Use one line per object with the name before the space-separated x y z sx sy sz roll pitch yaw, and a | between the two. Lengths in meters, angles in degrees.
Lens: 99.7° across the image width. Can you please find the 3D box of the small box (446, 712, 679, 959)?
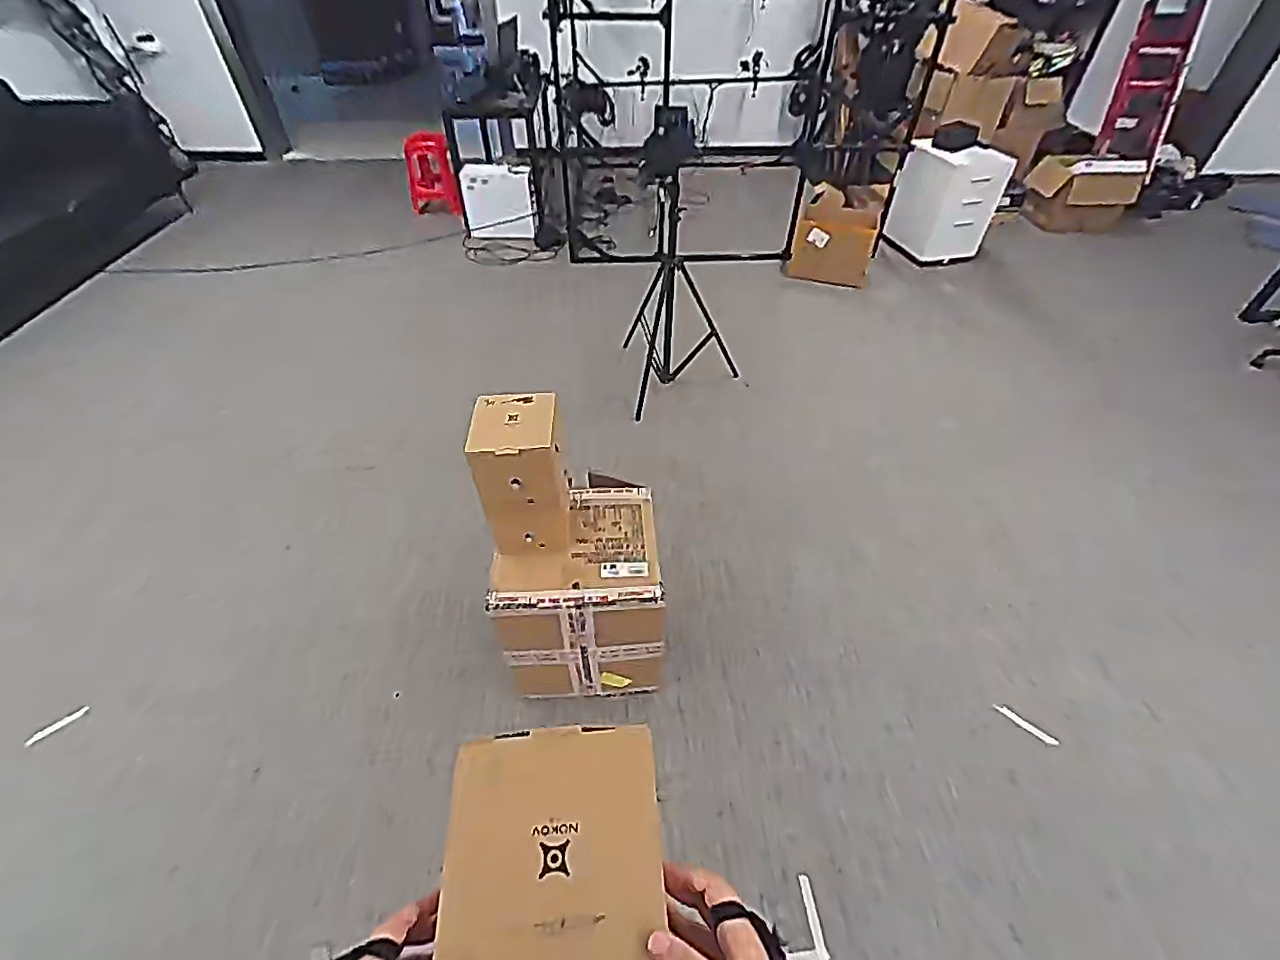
small box | -0.064 0.327 0.484 0.168 0.176 0.179 -3 53 -5

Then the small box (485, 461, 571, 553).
small box | -0.254 0.049 1.266 0.168 0.176 0.179 -5 47 -2

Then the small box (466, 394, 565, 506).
small box | -0.252 -0.057 1.139 0.168 0.176 0.179 -3 48 -1
